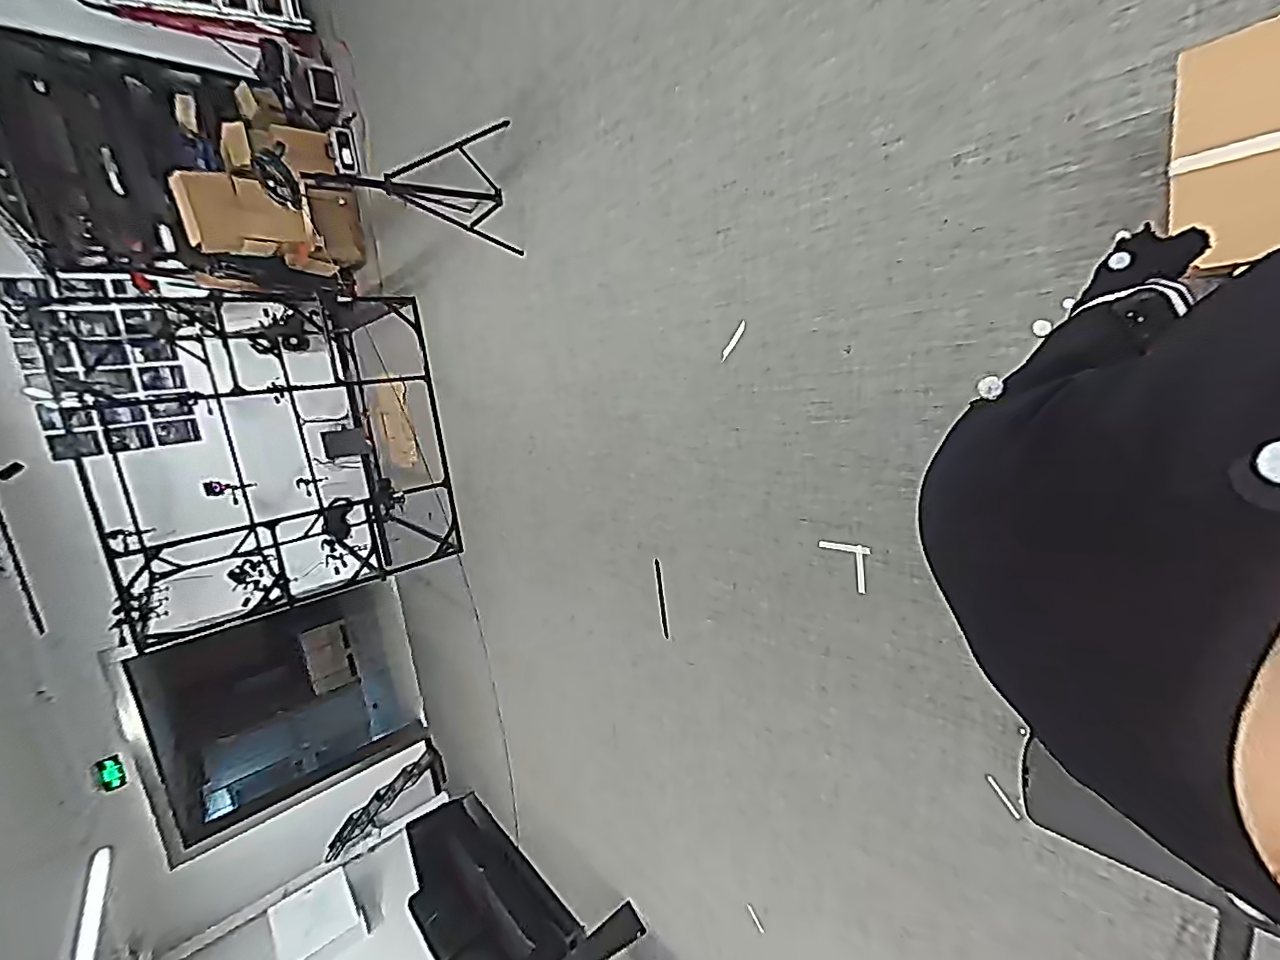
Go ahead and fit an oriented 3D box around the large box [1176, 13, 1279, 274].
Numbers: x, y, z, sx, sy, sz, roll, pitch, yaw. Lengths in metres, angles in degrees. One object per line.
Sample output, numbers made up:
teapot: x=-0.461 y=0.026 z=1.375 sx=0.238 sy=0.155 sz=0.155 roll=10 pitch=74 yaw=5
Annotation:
large box: x=1.052 y=-0.499 z=0.760 sx=0.408 sy=0.320 sz=0.320 roll=5 pitch=106 yaw=49
